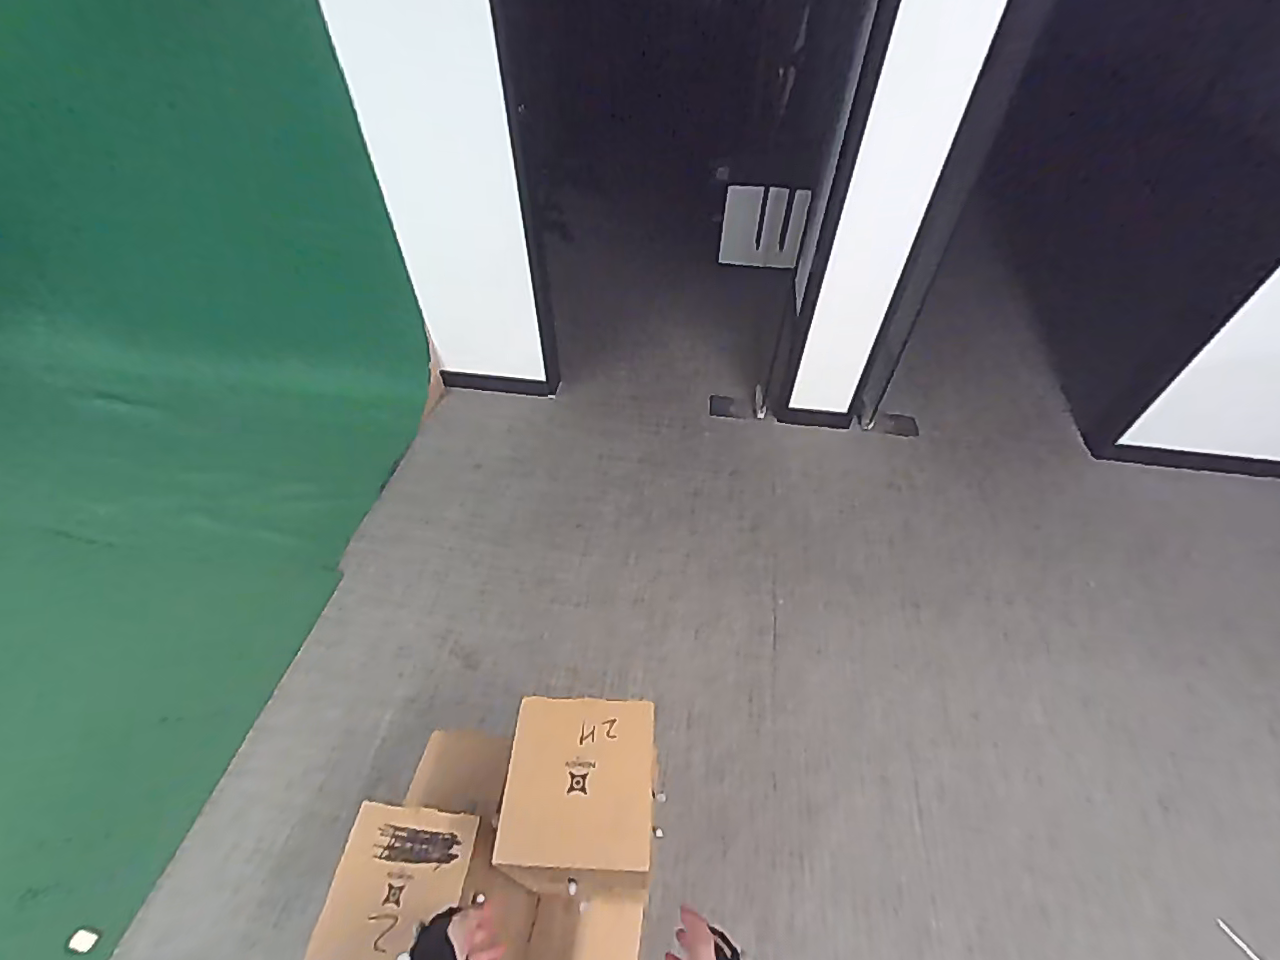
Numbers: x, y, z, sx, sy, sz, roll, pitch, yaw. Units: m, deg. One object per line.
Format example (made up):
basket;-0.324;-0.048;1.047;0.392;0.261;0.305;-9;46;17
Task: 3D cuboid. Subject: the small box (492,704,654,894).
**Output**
small box;-0.069;0.400;0.676;0.168;0.176;0.179;2;48;3

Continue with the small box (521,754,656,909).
small box;-0.065;0.510;0.798;0.168;0.176;0.179;3;49;5
